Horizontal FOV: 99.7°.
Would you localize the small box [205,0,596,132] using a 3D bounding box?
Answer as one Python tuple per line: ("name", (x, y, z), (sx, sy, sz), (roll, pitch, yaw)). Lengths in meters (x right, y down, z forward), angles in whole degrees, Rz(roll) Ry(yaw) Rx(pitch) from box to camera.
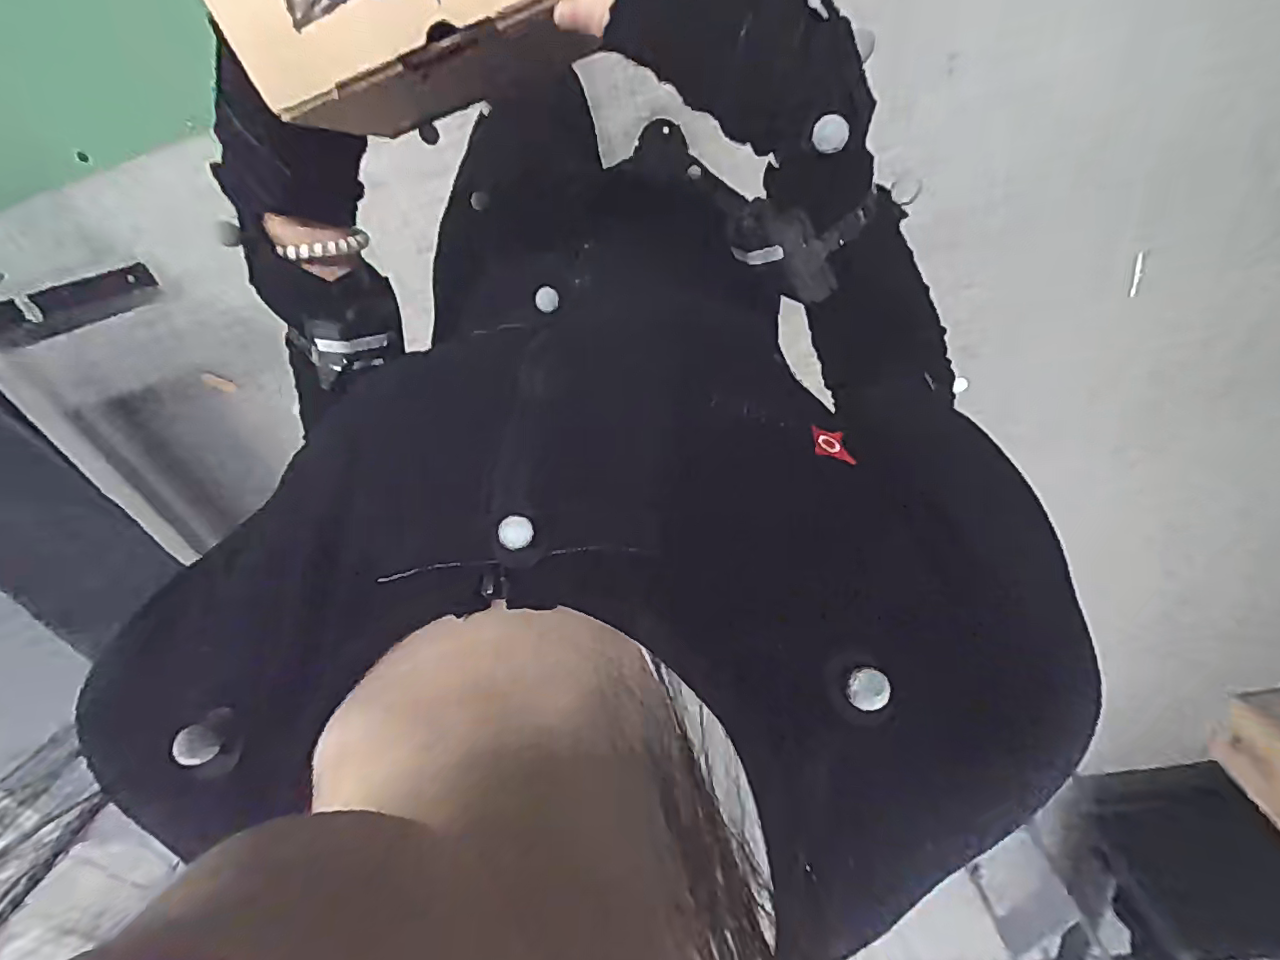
("small box", (-0.124, -0.297, 0.267), (0.168, 0.176, 0.179), (-21, 118, 5))
